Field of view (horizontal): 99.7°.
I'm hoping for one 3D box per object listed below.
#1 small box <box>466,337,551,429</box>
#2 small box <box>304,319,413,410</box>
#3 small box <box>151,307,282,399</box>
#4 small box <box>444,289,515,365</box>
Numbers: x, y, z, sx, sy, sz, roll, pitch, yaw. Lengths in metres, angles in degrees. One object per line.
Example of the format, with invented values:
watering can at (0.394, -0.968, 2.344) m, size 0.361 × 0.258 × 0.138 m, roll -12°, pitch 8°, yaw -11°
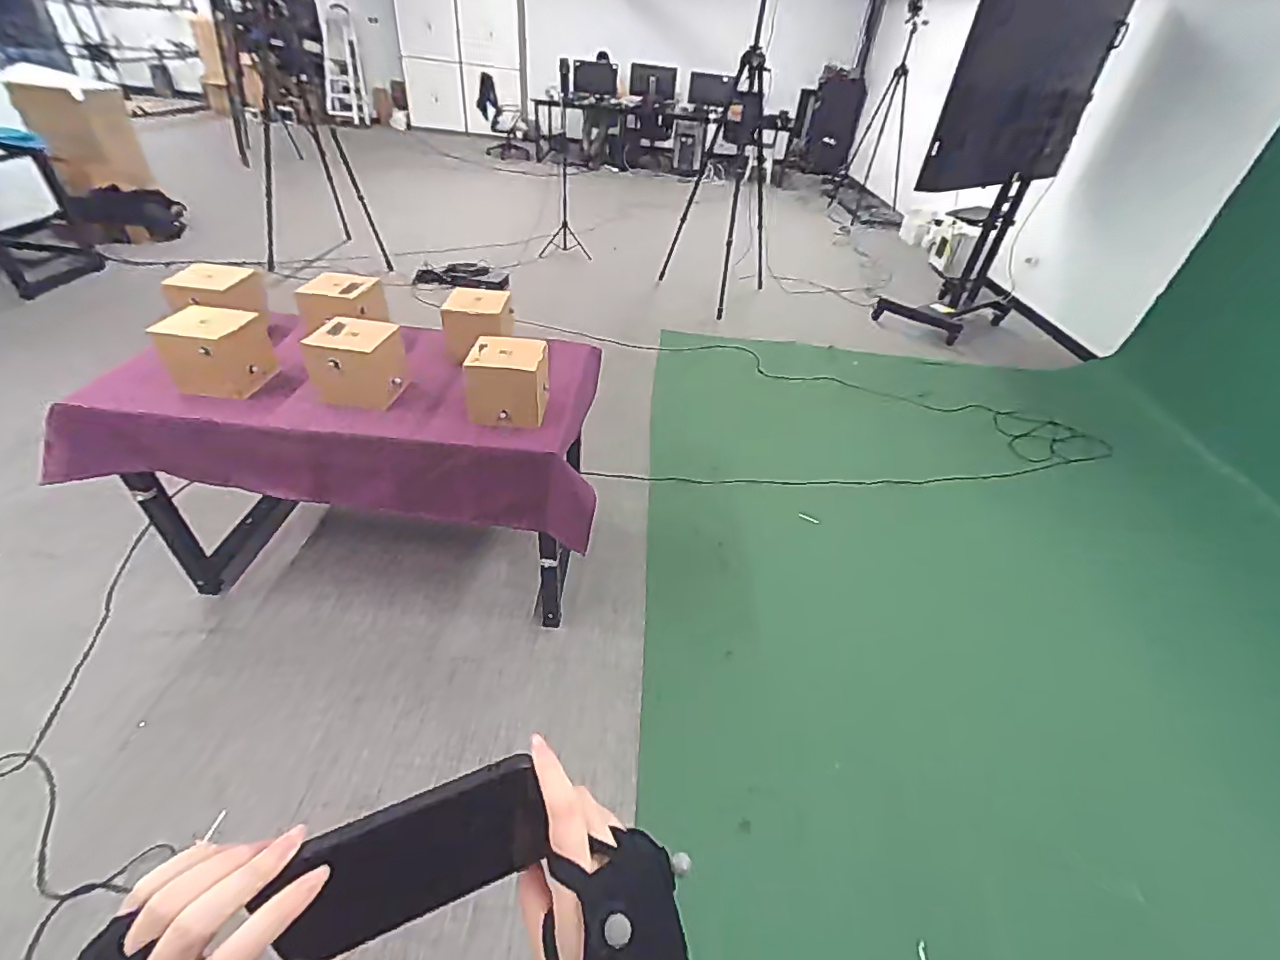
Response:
small box at (-0.328, -0.245, 1.382) m, size 0.179 × 0.176 × 0.168 m, roll 5°, pitch 39°, yaw -2°
small box at (-0.715, -0.297, 1.395) m, size 0.179 × 0.176 × 0.168 m, roll 8°, pitch 39°, yaw 1°
small box at (-1.066, -0.322, 1.380) m, size 0.179 × 0.176 × 0.168 m, roll 7°, pitch 39°, yaw 0°
small box at (-0.471, -0.453, 1.618) m, size 0.168 × 0.176 × 0.179 m, roll 4°, pitch 40°, yaw -2°
